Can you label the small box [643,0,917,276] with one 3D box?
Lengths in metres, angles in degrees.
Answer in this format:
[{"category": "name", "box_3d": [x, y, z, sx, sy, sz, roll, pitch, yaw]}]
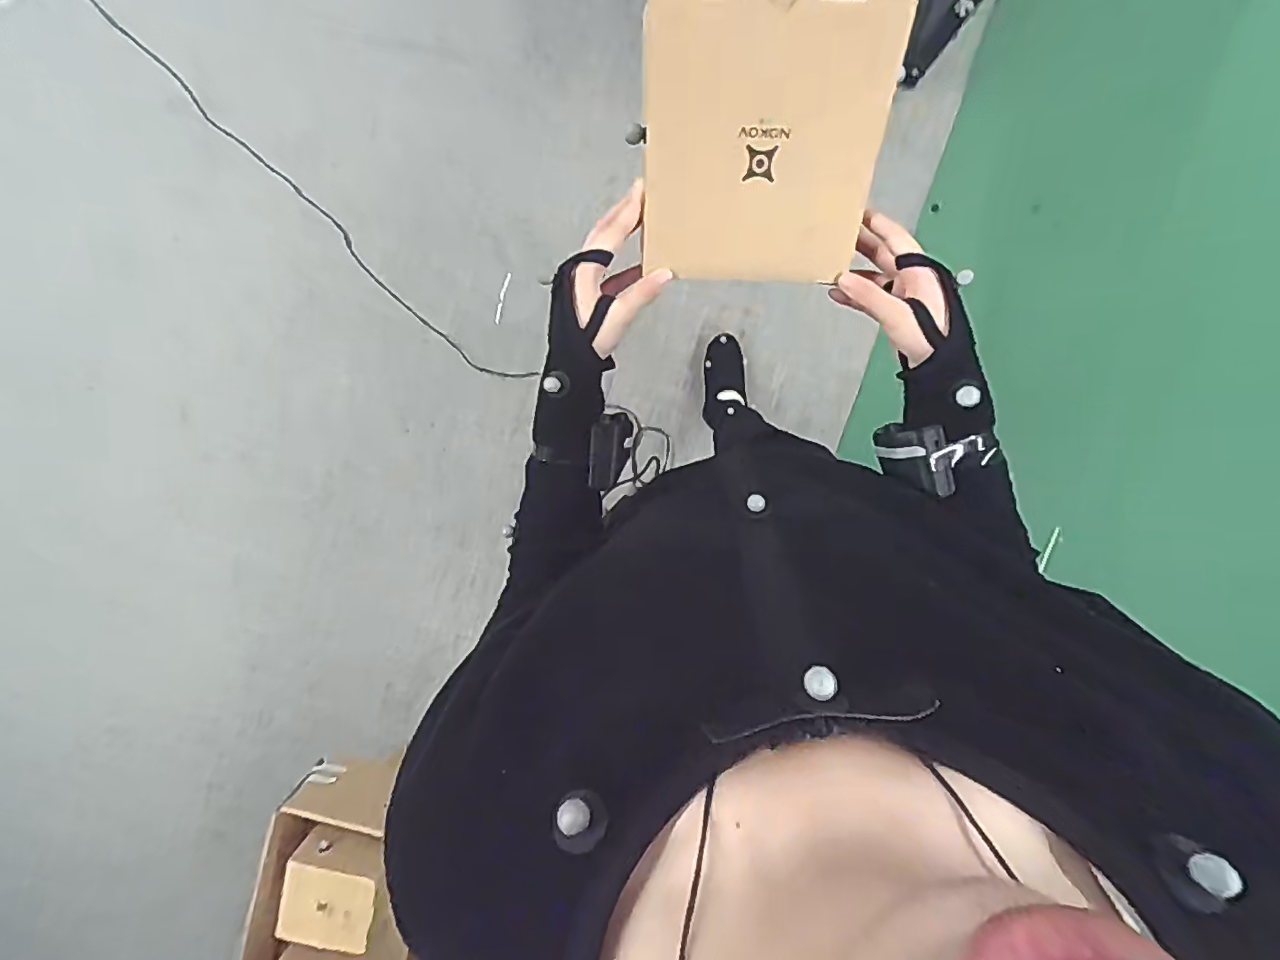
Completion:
[{"category": "small box", "box_3d": [0.088, -0.283, 0.443, 0.168, 0.176, 0.179, 1, 127, -1]}]
